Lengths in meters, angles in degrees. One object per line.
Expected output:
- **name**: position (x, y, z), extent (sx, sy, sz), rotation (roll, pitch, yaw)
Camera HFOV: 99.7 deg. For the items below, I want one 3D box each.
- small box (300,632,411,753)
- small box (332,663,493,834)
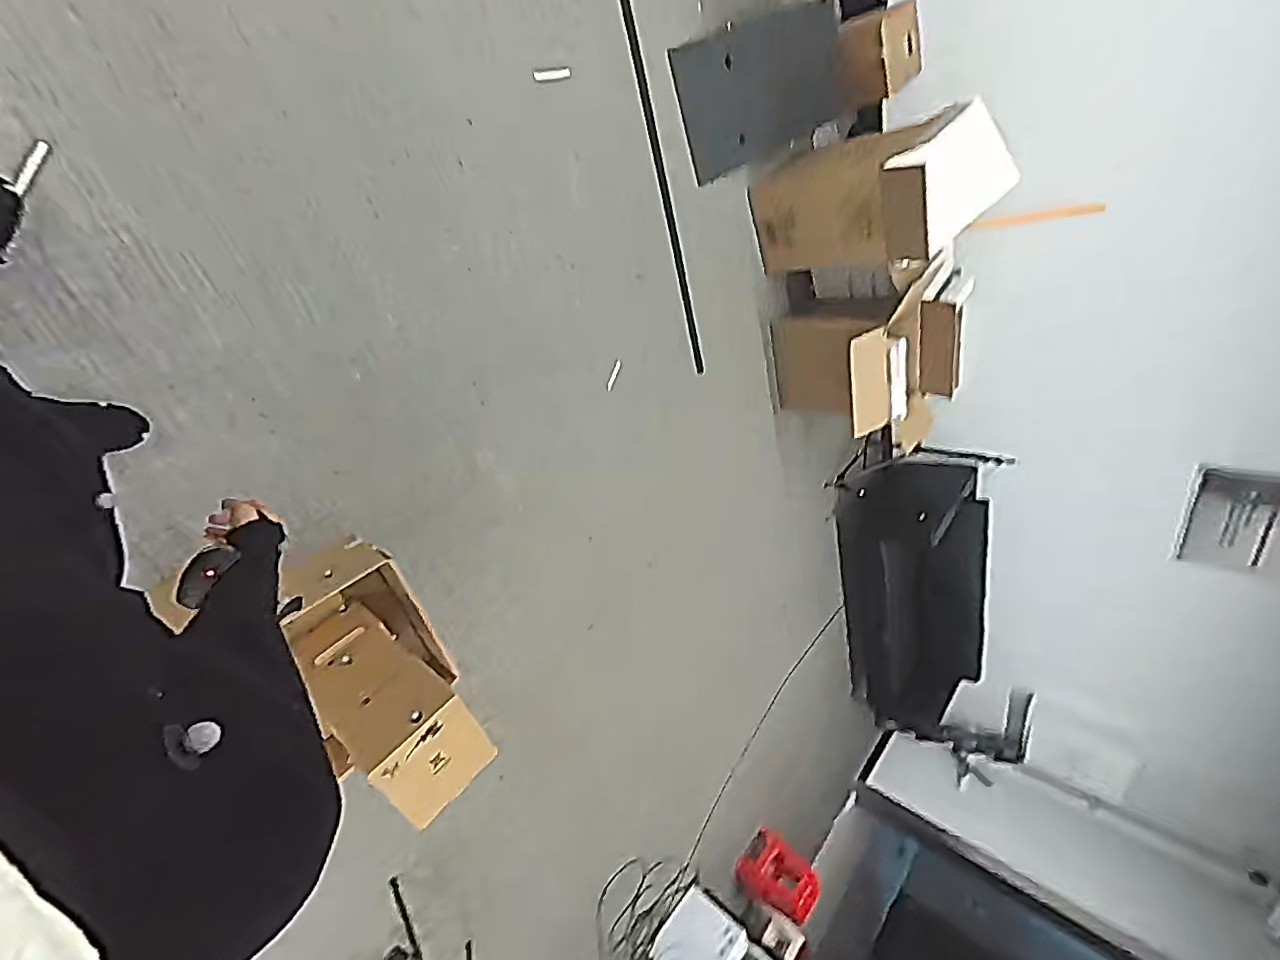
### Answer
- **small box**: position (-0.516, 0.428, 1.049), extent (0.168, 0.176, 0.179), rotation (-40, 126, -33)
- **small box**: position (-0.394, 0.456, 0.942), extent (0.168, 0.176, 0.179), rotation (-40, 128, -33)
